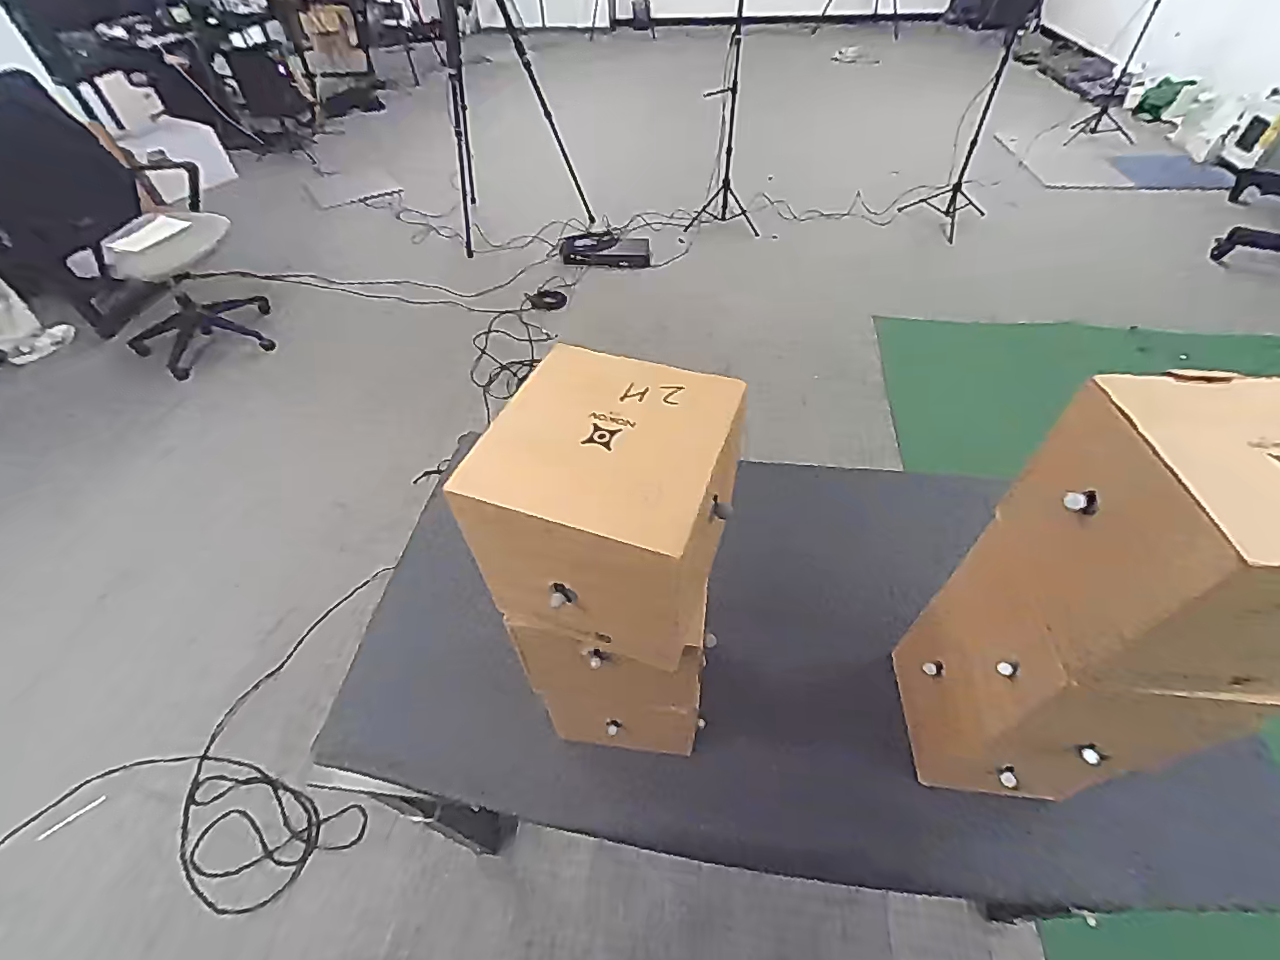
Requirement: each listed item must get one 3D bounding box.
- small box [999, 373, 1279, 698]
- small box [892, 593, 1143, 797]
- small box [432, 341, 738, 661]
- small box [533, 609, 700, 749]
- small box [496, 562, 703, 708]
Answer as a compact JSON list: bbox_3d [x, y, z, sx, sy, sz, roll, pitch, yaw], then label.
[{"bbox_3d":[0.413,0.040,0.403,0.168,0.176,0.179,1,47,4],"label":"small box"},{"bbox_3d":[0.423,0.260,0.647,0.168,0.176,0.179,4,48,5],"label":"small box"},{"bbox_3d":[-0.028,0.018,0.439,0.168,0.176,0.179,15,51,14],"label":"small box"},{"bbox_3d":[-0.019,0.228,0.690,0.179,0.176,0.168,4,48,7],"label":"small box"},{"bbox_3d":[-0.026,0.122,0.567,0.179,0.176,0.168,6,50,6],"label":"small box"}]
